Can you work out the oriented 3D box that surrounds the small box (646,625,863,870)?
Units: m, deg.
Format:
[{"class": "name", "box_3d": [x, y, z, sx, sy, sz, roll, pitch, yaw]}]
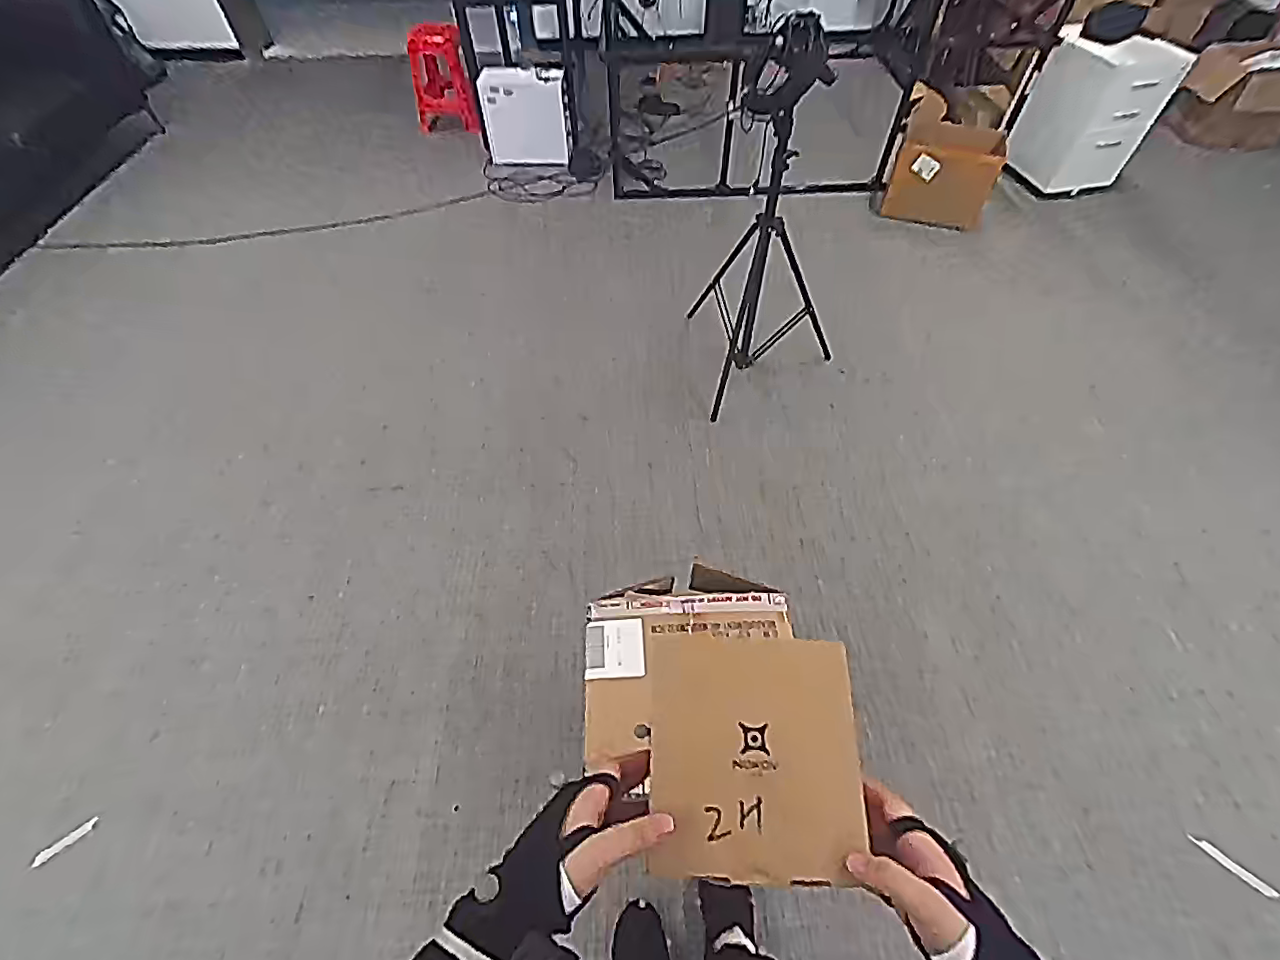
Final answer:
[{"class": "small box", "box_3d": [0.091, 0.245, 0.513, 0.168, 0.176, 0.179, 1, 65, 3]}]
